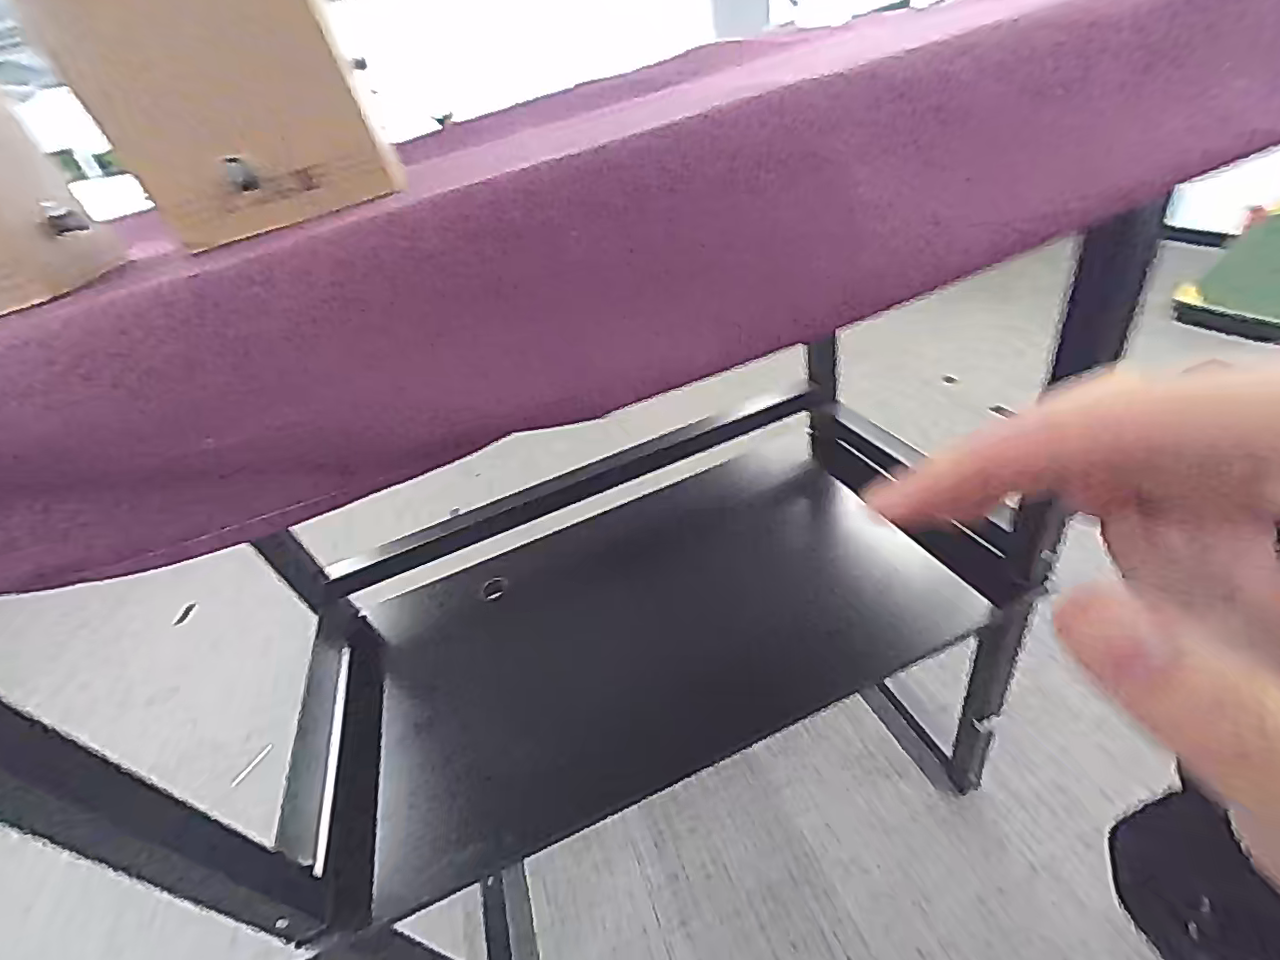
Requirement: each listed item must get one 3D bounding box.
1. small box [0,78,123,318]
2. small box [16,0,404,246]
[{"bbox_3d":[-0.519,-0.195,0.368,0.168,0.176,0.179,-27,37,-14],"label":"small box"},{"bbox_3d":[-0.306,-0.302,0.429,0.168,0.176,0.179,-23,37,-8],"label":"small box"}]
